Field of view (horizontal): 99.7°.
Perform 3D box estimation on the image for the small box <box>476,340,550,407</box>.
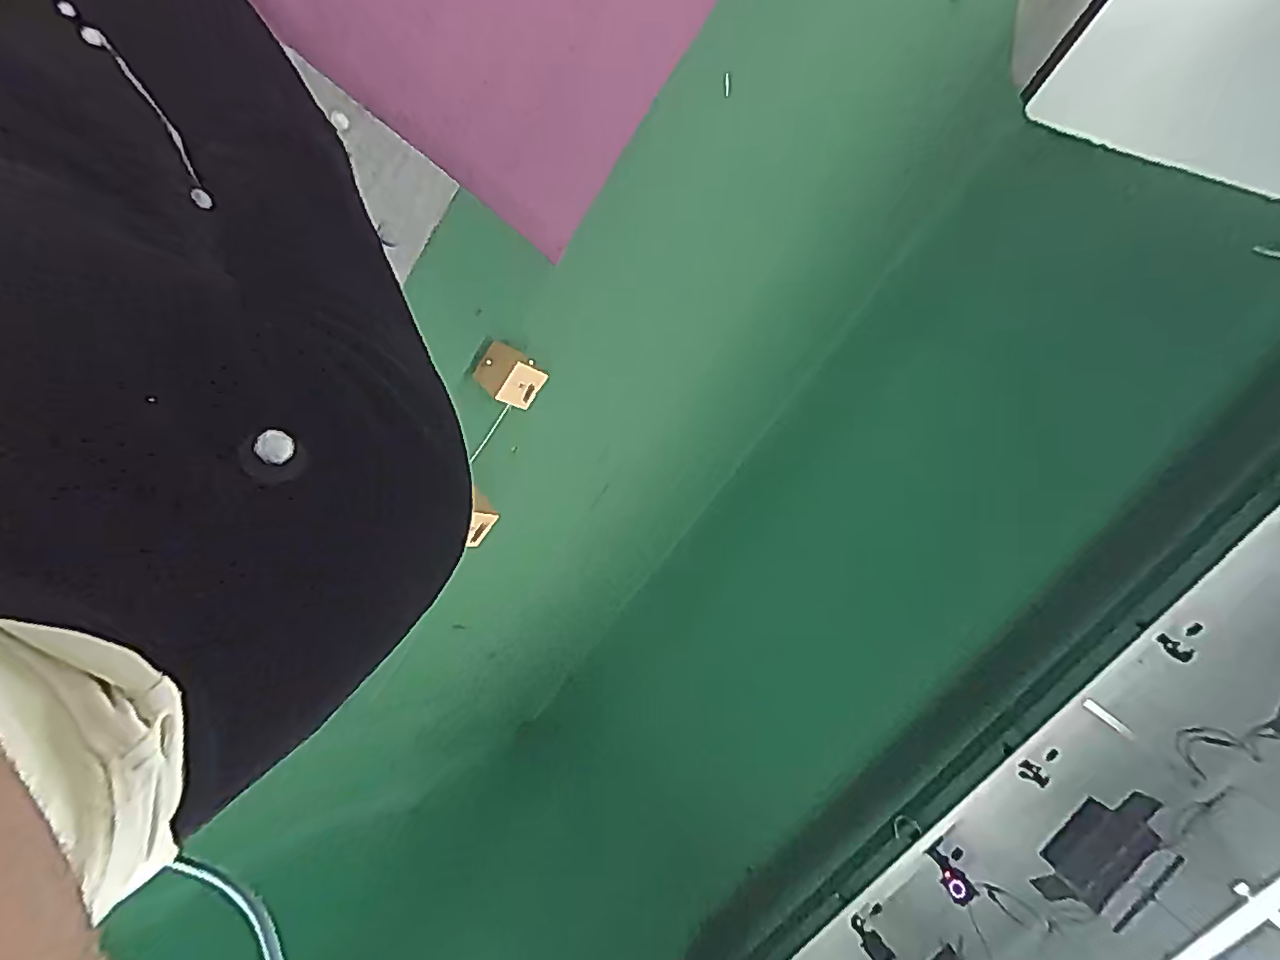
[{"bbox_3d":[-0.486,-0.406,2.057,0.168,0.176,0.179,-54,151,12],"label":"small box"}]
